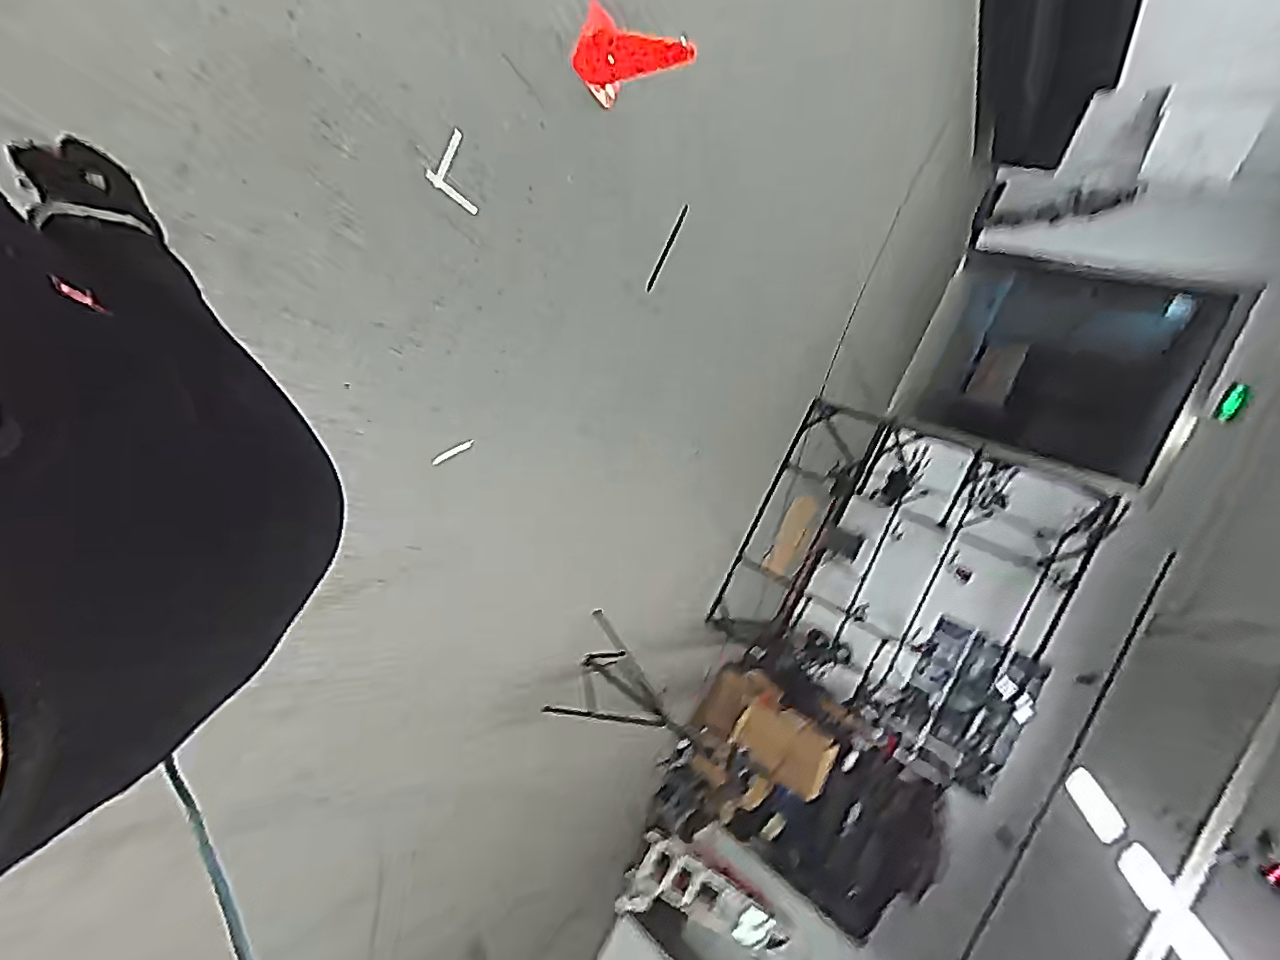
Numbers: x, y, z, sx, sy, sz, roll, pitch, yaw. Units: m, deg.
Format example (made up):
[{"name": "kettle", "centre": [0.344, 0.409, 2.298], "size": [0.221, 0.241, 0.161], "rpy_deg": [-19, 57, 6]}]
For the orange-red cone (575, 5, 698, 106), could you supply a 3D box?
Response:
[{"name": "orange-red cone", "centre": [0.016, -1.257, 1.597], "size": [0.198, 0.360, 0.199], "rpy_deg": [18, 96, -58]}]
